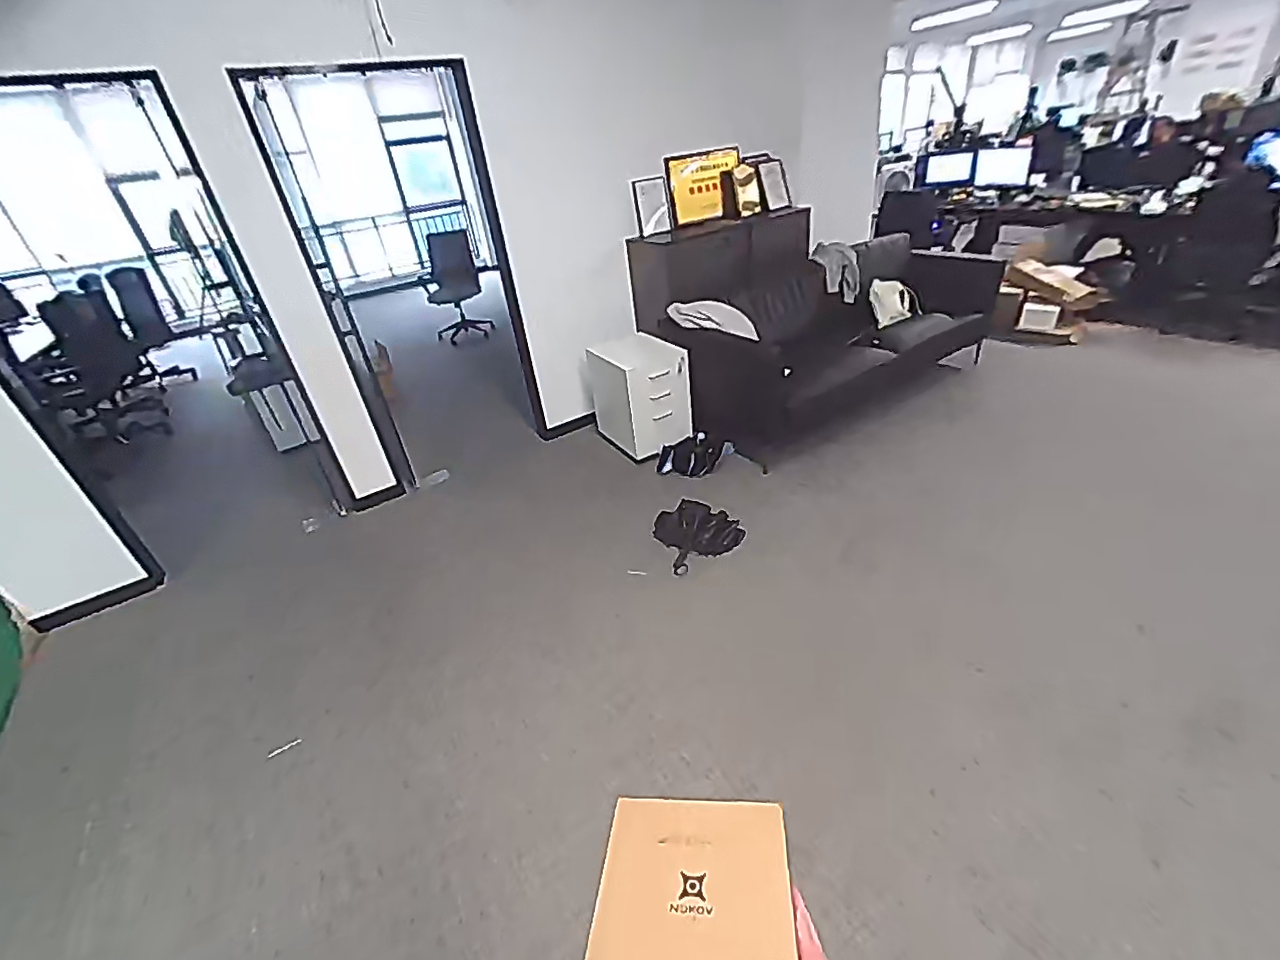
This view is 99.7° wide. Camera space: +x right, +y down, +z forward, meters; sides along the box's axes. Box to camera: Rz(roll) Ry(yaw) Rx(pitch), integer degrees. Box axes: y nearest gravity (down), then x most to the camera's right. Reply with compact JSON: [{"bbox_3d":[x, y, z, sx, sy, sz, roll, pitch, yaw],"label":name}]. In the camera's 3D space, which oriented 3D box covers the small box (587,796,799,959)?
[{"bbox_3d":[0.056,0.424,0.485,0.168,0.176,0.179,-3,18,10],"label":"small box"}]
